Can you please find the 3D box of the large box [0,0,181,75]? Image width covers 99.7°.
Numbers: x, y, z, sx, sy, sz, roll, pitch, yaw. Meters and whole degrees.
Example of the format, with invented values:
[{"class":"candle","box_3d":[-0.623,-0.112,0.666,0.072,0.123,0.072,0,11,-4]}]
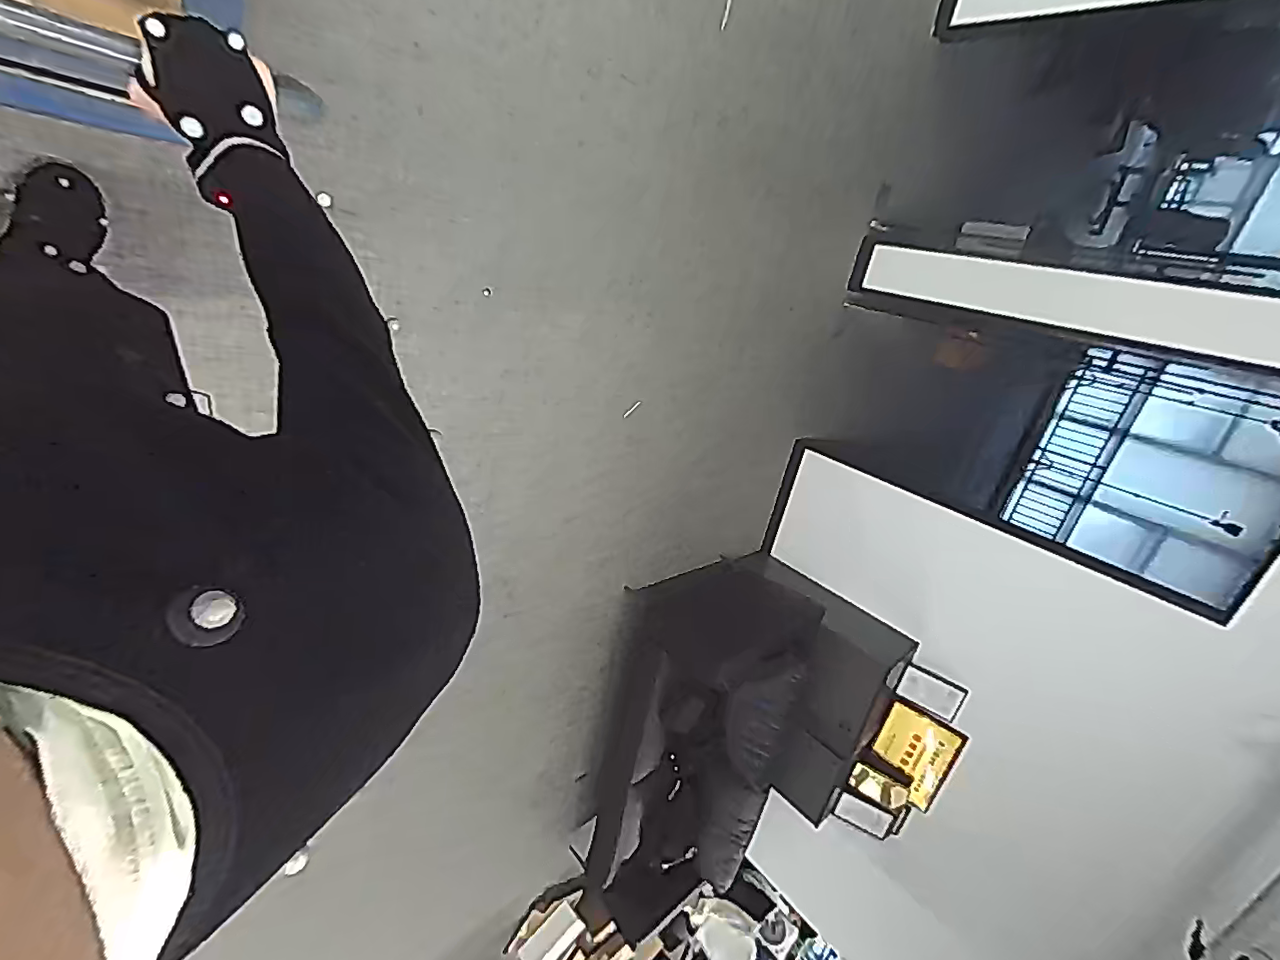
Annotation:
[{"class":"large box","box_3d":[-0.816,-0.806,0.676,0.320,0.320,0.408,-10,120,-43]}]
